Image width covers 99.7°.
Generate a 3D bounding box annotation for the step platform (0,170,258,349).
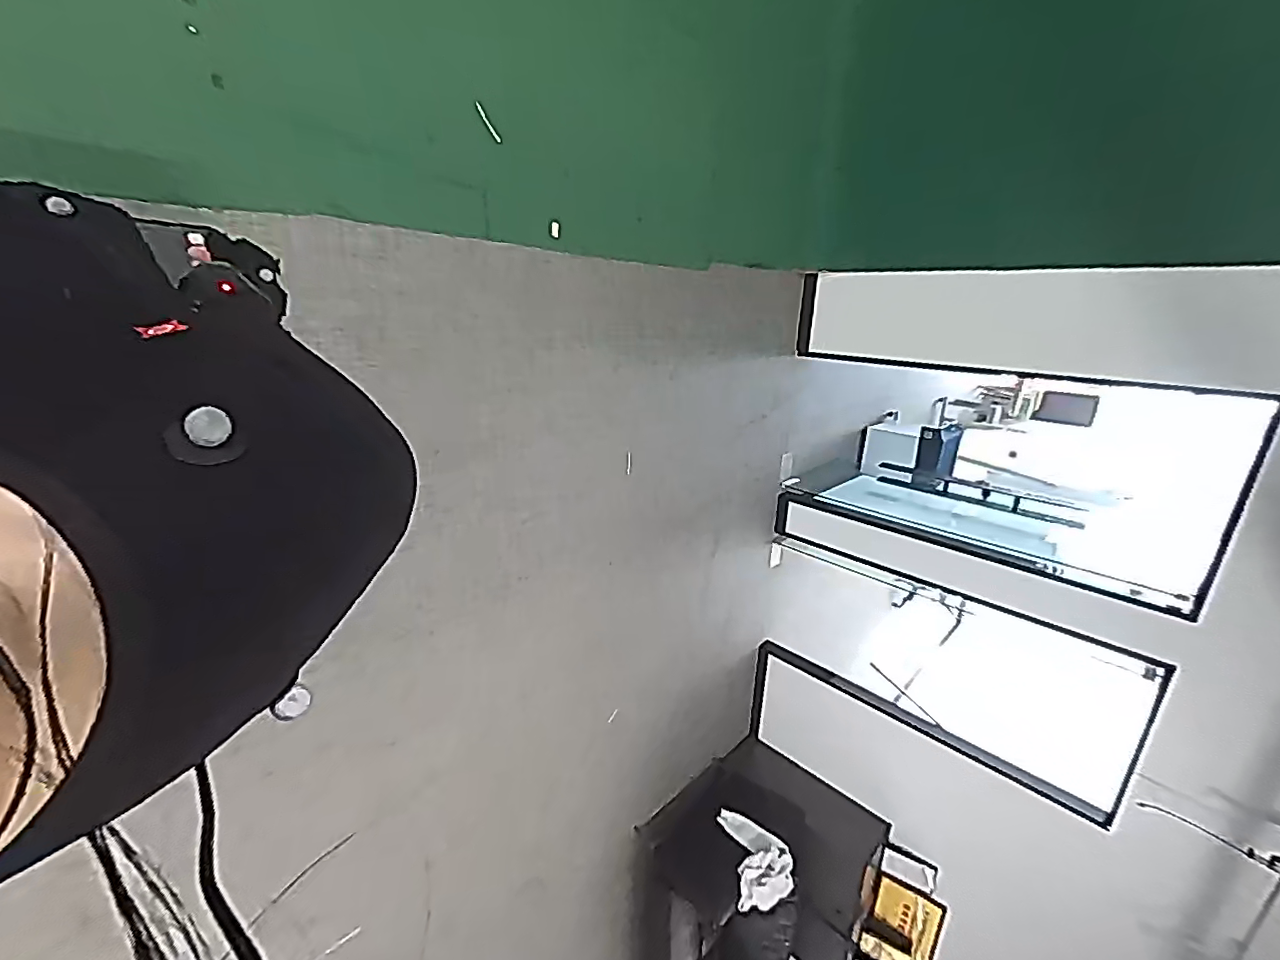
[{"bbox_3d":[-1.050,-0.359,0.875,0.684,0.204,0.286,-15,116,-43],"label":"step platform"}]
